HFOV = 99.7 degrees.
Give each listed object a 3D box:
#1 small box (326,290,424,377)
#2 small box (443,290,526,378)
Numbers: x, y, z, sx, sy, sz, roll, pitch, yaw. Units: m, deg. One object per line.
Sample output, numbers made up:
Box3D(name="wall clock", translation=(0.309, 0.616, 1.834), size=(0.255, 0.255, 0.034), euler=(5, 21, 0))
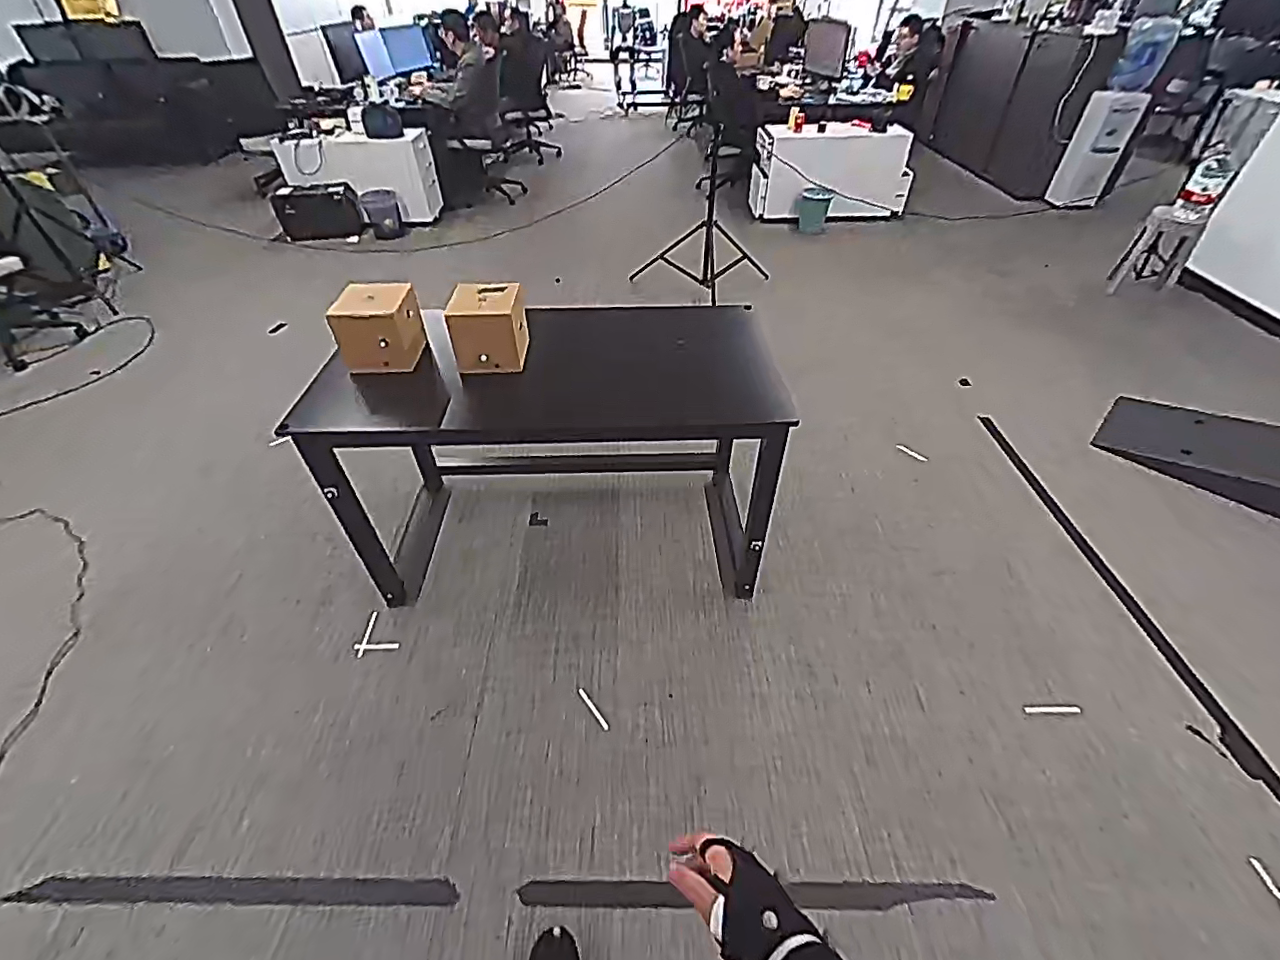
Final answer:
Box3D(name="small box", translation=(-0.687, -0.385, 1.427), size=(0.168, 0.176, 0.179), euler=(-1, 42, -3))
Box3D(name="small box", translation=(-0.400, -0.385, 1.424), size=(0.168, 0.176, 0.179), euler=(-2, 44, -1))
